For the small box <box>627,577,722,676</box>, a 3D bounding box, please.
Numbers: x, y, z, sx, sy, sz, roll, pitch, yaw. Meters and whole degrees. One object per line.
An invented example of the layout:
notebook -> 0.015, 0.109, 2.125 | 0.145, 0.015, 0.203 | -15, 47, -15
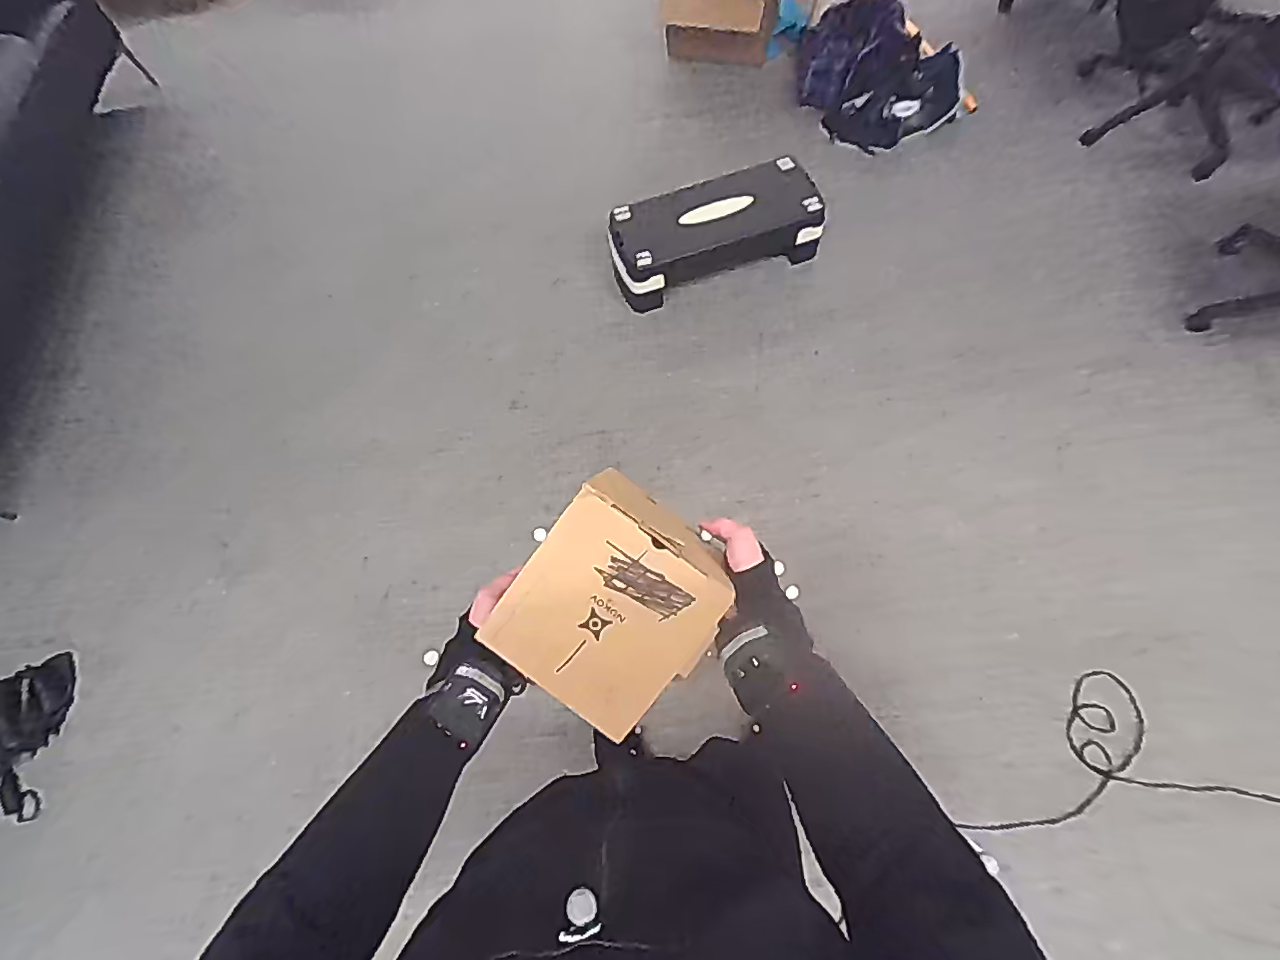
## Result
small box -> 0.088, 0.376, 1.364 | 0.168, 0.176, 0.179 | 35, 74, 15
